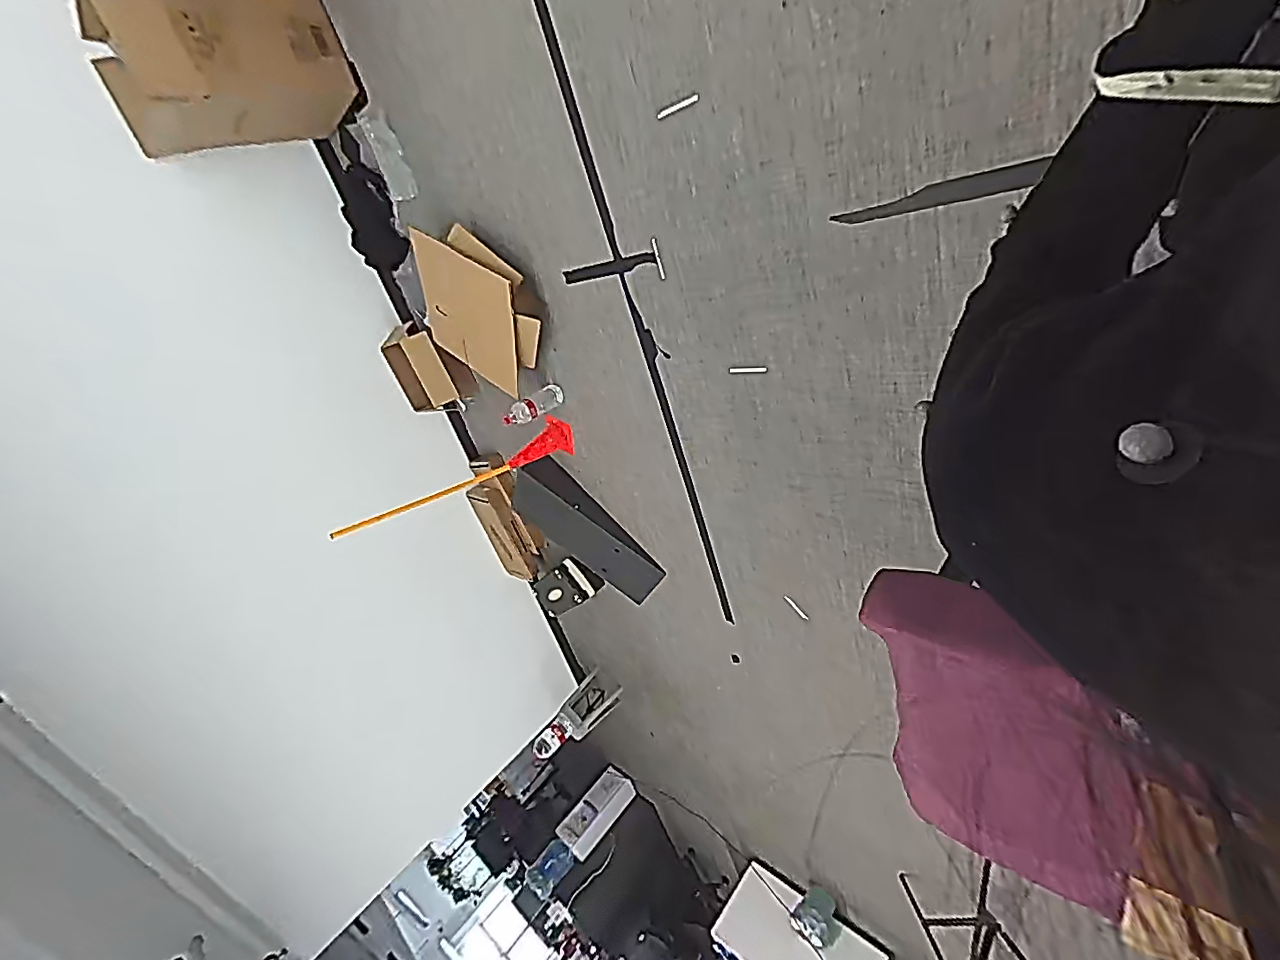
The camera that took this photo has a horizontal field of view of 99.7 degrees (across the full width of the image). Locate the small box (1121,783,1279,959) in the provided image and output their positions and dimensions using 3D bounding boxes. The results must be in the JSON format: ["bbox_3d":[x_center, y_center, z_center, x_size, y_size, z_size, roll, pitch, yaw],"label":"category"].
[{"bbox_3d":[0.812,0.580,0.769,0.168,0.176,0.179,10,128,45],"label":"small box"}]
